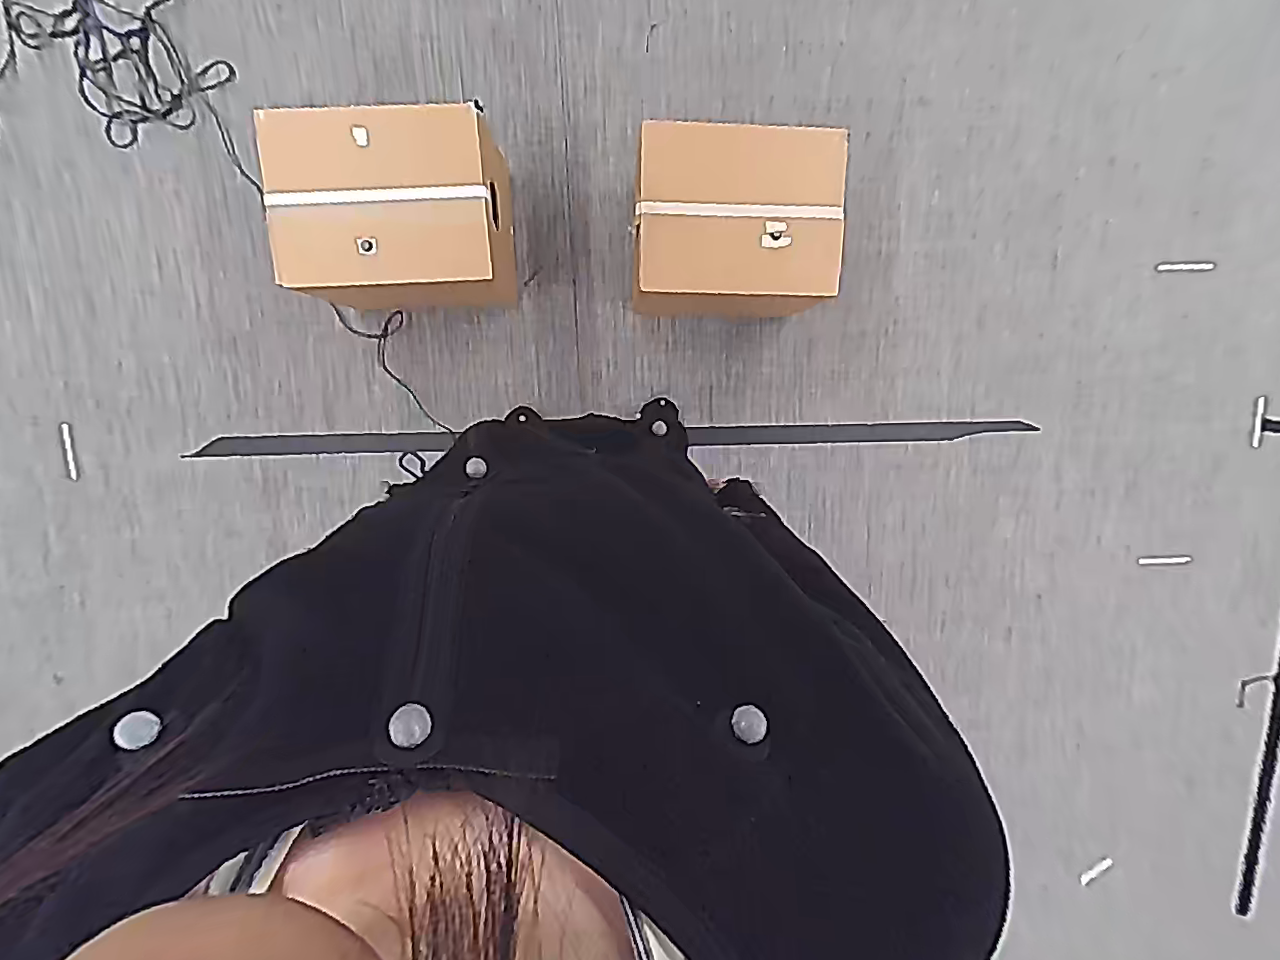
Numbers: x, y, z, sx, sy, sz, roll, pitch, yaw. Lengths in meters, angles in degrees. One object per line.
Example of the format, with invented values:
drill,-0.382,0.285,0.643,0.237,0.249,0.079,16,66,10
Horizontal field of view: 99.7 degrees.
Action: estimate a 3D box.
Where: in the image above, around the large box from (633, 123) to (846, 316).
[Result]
large box,0.193,-0.551,1.211,0.408,0.320,0.320,0,99,-4
